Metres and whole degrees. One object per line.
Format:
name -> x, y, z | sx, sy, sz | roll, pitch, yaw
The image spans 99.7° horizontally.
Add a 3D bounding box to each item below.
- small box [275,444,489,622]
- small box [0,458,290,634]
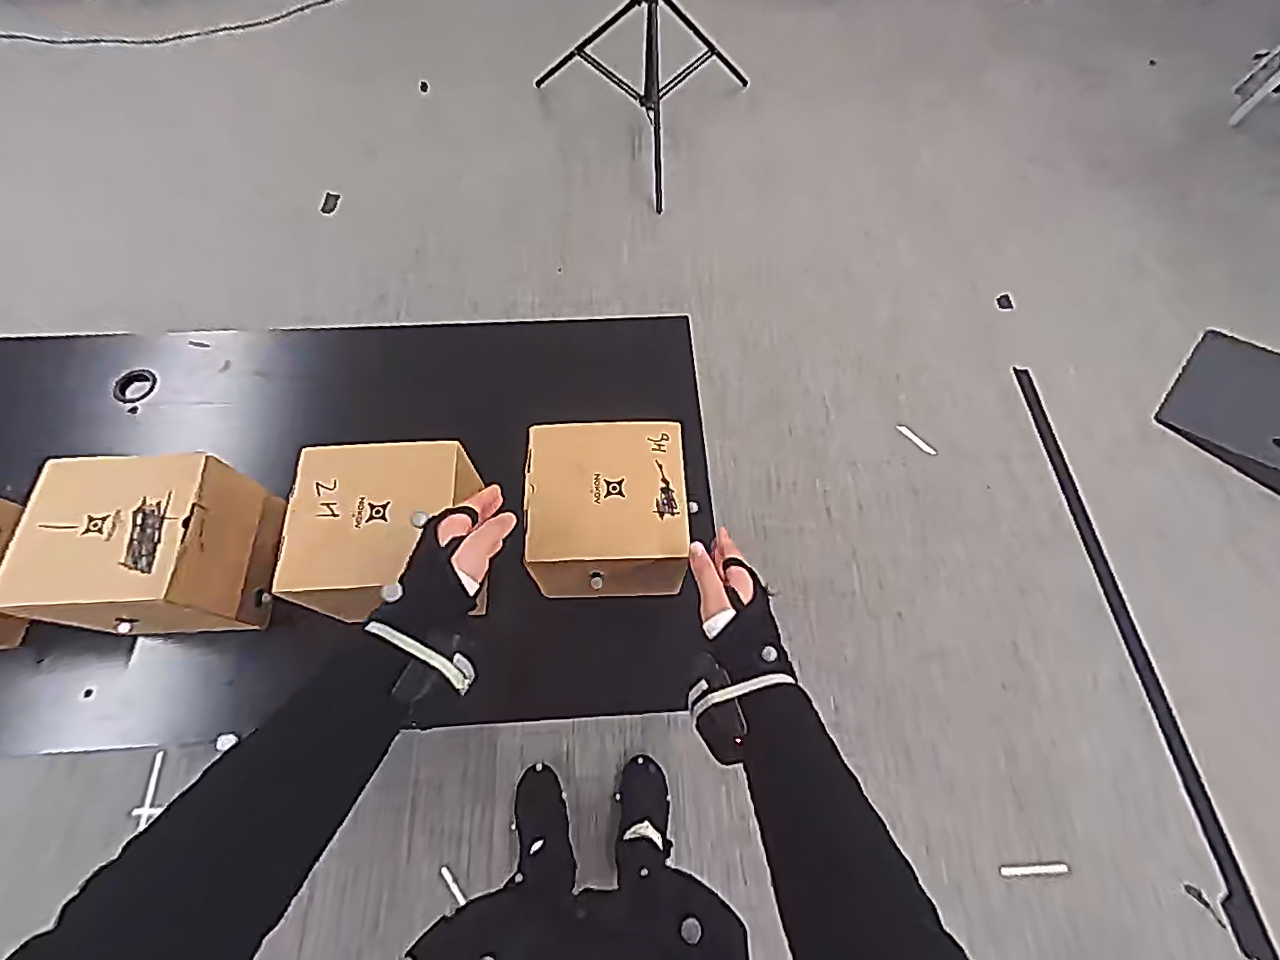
small box -> -0.287, 0.070, 0.650 | 0.179, 0.176, 0.168 | -4, 65, -3
small box -> -0.557, 0.085, 0.639 | 0.179, 0.176, 0.168 | -3, 66, -2
